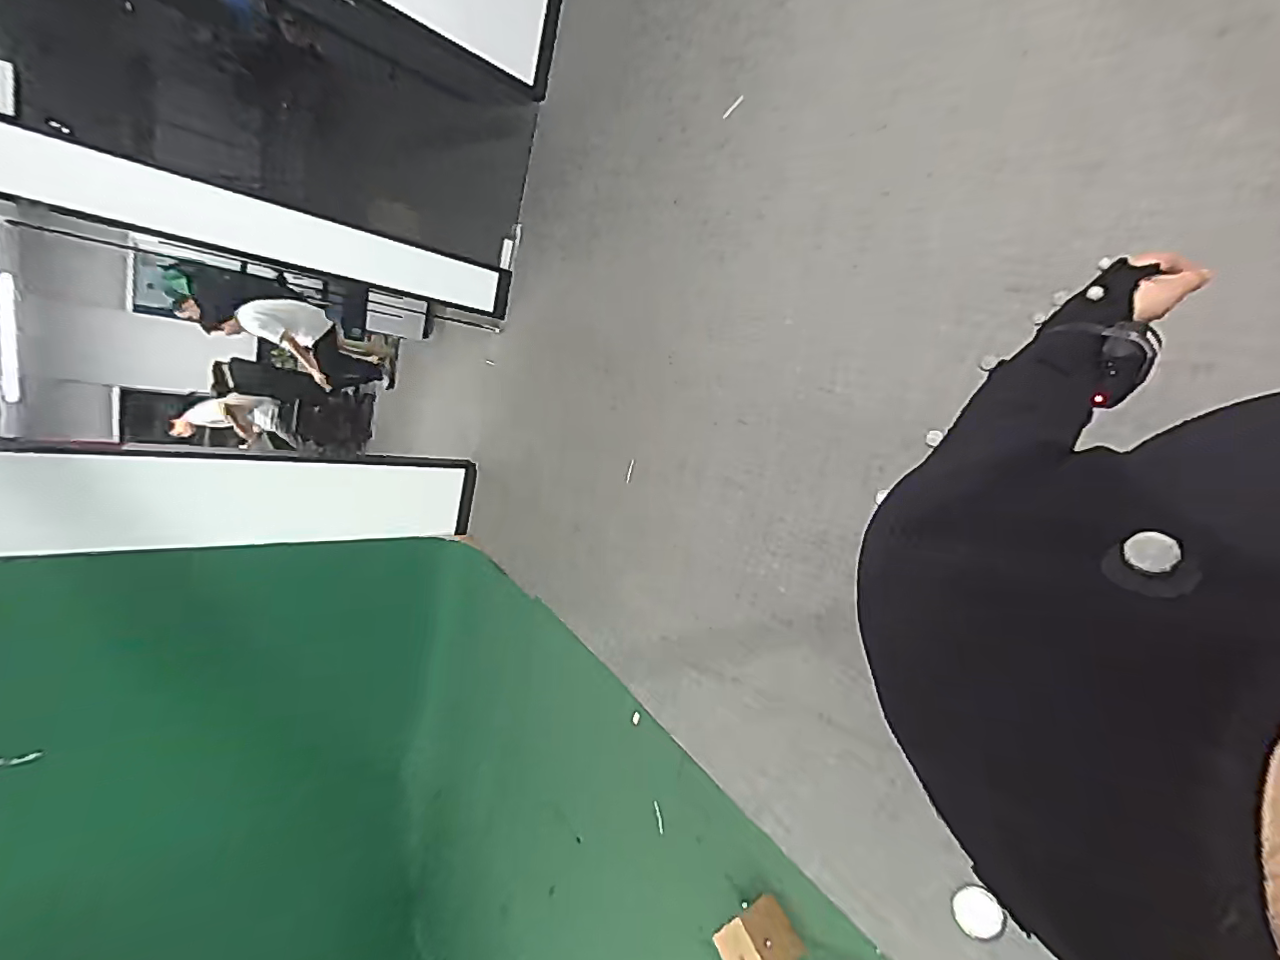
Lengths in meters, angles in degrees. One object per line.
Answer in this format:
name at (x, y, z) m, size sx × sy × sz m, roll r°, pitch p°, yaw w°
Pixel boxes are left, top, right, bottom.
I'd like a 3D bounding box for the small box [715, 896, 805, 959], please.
small box at (0.375, 1.444, 1.672) m, size 0.179 × 0.176 × 0.168 m, roll 52°, pitch 124°, yaw 37°
